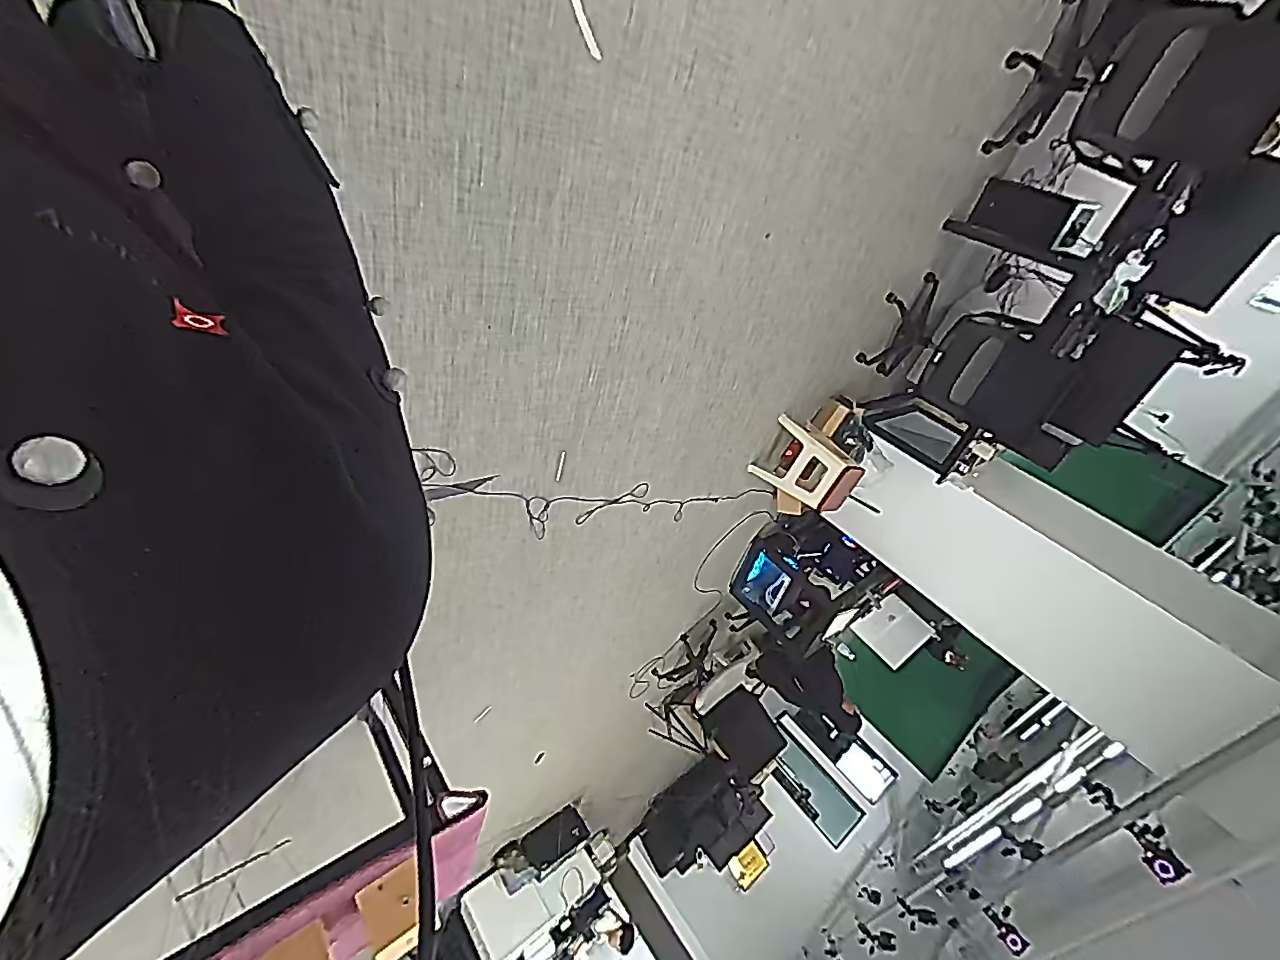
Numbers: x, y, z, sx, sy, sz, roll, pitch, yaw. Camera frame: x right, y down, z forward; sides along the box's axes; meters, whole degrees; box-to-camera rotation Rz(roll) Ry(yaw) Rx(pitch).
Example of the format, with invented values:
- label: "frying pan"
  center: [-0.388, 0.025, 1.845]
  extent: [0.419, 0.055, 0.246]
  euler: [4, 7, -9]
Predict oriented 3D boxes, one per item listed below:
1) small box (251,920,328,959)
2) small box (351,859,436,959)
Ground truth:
- label: "small box"
  center: [-0.880, 1.265, 1.350]
  extent: [0.179, 0.176, 0.168]
  euler: [-18, 138, -37]
- label: "small box"
  center: [-0.689, 1.210, 1.513]
  extent: [0.168, 0.176, 0.179]
  euler: [-21, 139, -35]
